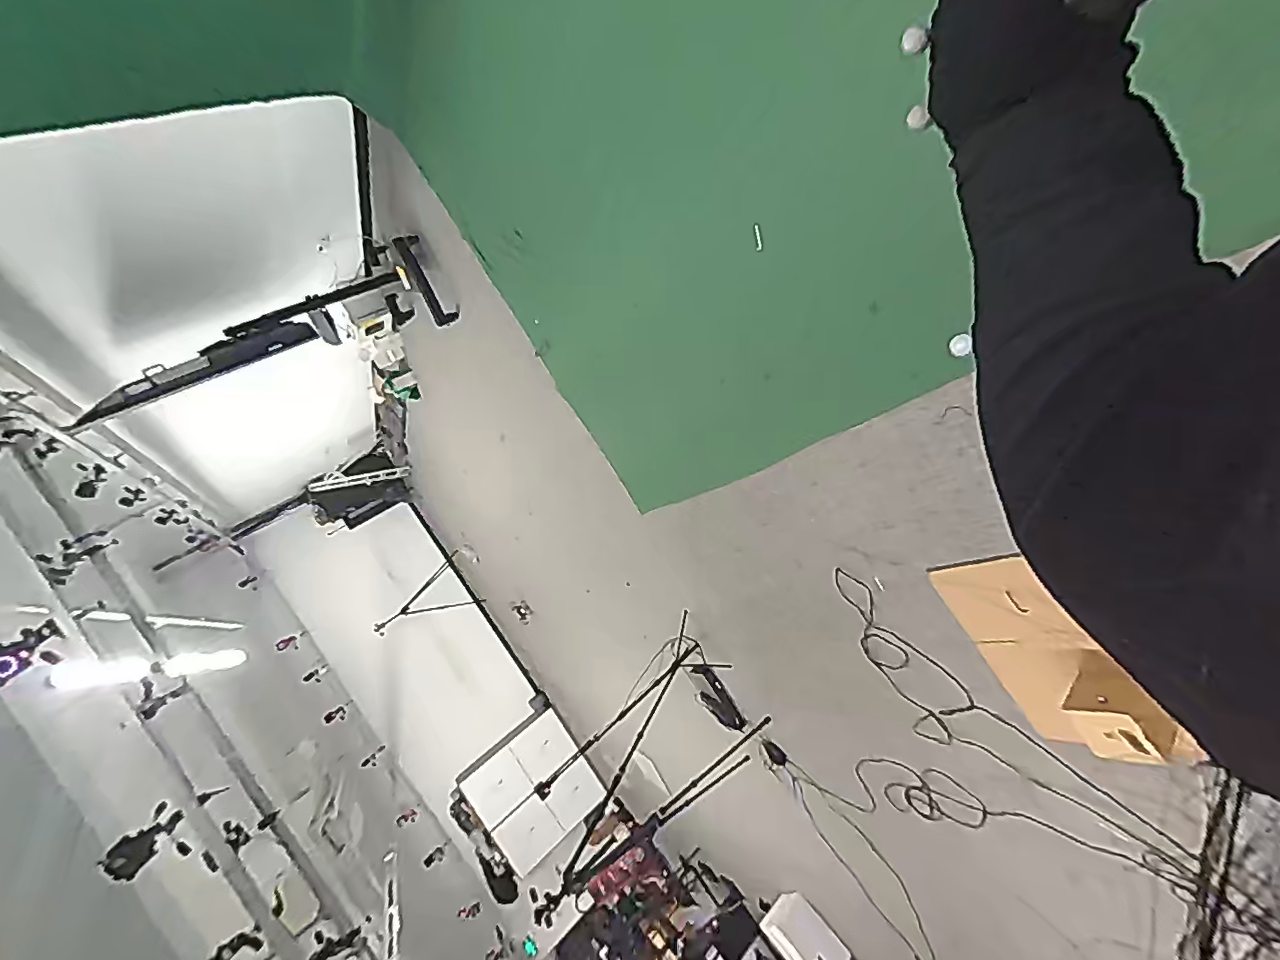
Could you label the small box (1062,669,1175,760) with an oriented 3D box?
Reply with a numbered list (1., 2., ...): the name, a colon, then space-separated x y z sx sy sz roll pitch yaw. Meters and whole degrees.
1. small box: 1.355 0.653 1.526 0.168 0.176 0.179 54 151 3
